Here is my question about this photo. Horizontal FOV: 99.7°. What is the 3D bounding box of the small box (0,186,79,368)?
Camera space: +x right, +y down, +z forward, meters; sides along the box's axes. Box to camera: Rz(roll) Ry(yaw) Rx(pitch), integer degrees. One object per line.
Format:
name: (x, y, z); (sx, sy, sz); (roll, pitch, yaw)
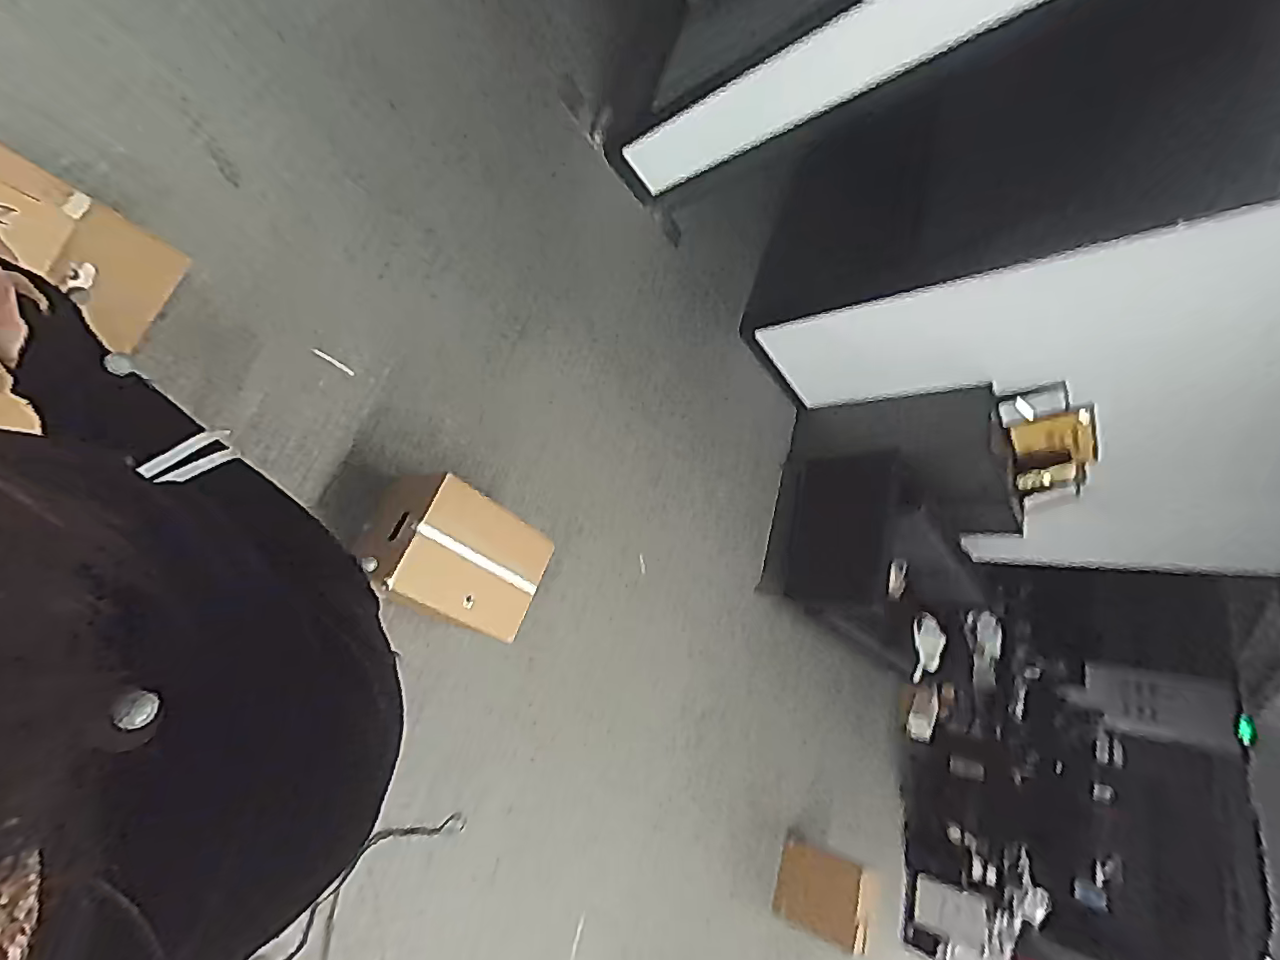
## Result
small box: (-0.804, -0.251, 0.626); (0.168, 0.176, 0.179); (30, 64, -44)

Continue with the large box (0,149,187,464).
large box: (-1.086, -0.279, 0.927); (0.320, 0.320, 0.408); (36, 60, -42)

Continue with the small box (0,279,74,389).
small box: (-0.930, -0.236, 0.731); (0.179, 0.176, 0.168); (34, 61, -41)
